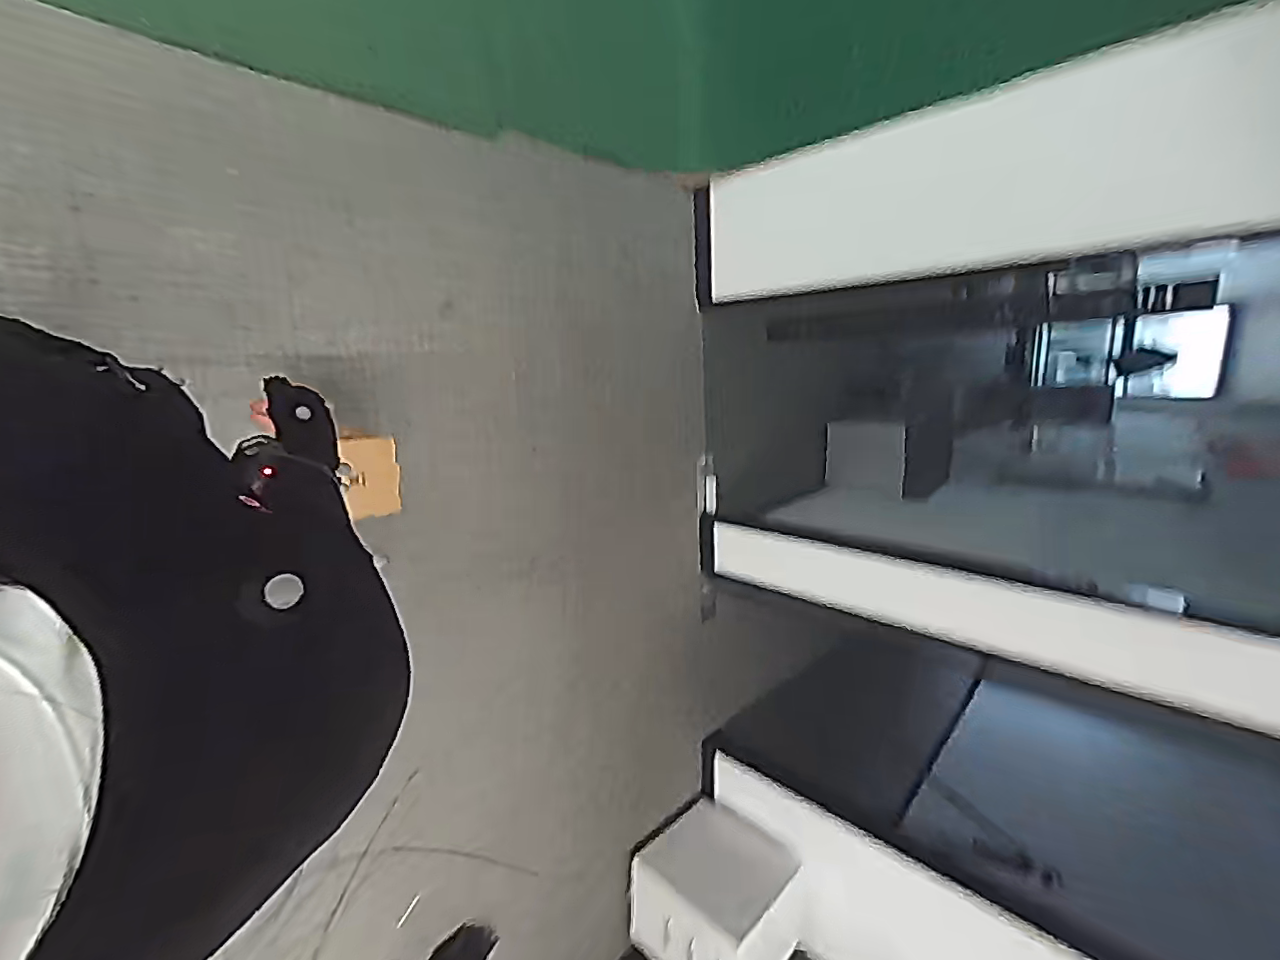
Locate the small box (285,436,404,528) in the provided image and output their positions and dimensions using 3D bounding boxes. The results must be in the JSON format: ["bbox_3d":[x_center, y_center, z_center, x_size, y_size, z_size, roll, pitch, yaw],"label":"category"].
[{"bbox_3d":[-0.637,-0.004,1.166,0.179,0.176,0.168,-11,103,-44],"label":"small box"}]

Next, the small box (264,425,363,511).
[{"bbox_3d":[-0.759,-0.035,1.268,0.168,0.176,0.179,-11,103,-45],"label":"small box"}]
